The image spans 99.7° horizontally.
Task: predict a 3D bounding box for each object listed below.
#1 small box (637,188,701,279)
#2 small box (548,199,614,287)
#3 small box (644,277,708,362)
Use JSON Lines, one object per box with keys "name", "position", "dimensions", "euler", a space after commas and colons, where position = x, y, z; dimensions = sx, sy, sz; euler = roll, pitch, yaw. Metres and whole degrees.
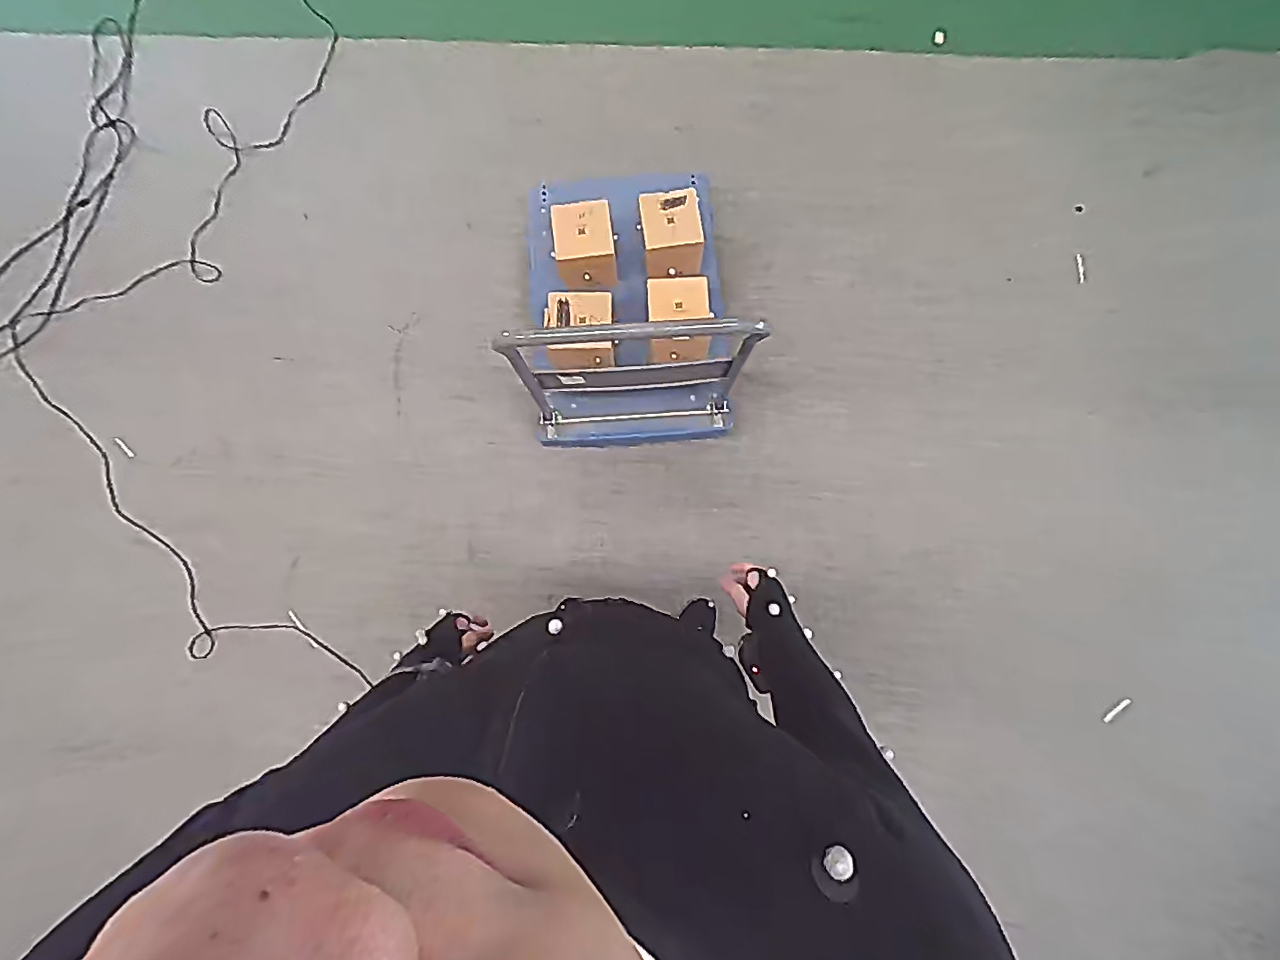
{"name": "small box", "position": [0.080, -0.719, 1.588], "dimensions": [0.168, 0.176, 0.179], "euler": [-7, 80, 0]}
{"name": "small box", "position": [-0.170, -0.684, 1.585], "dimensions": [0.168, 0.176, 0.179], "euler": [-7, 79, -2]}
{"name": "small box", "position": [0.098, -0.453, 1.539], "dimensions": [0.168, 0.176, 0.179], "euler": [-3, 80, 0]}
